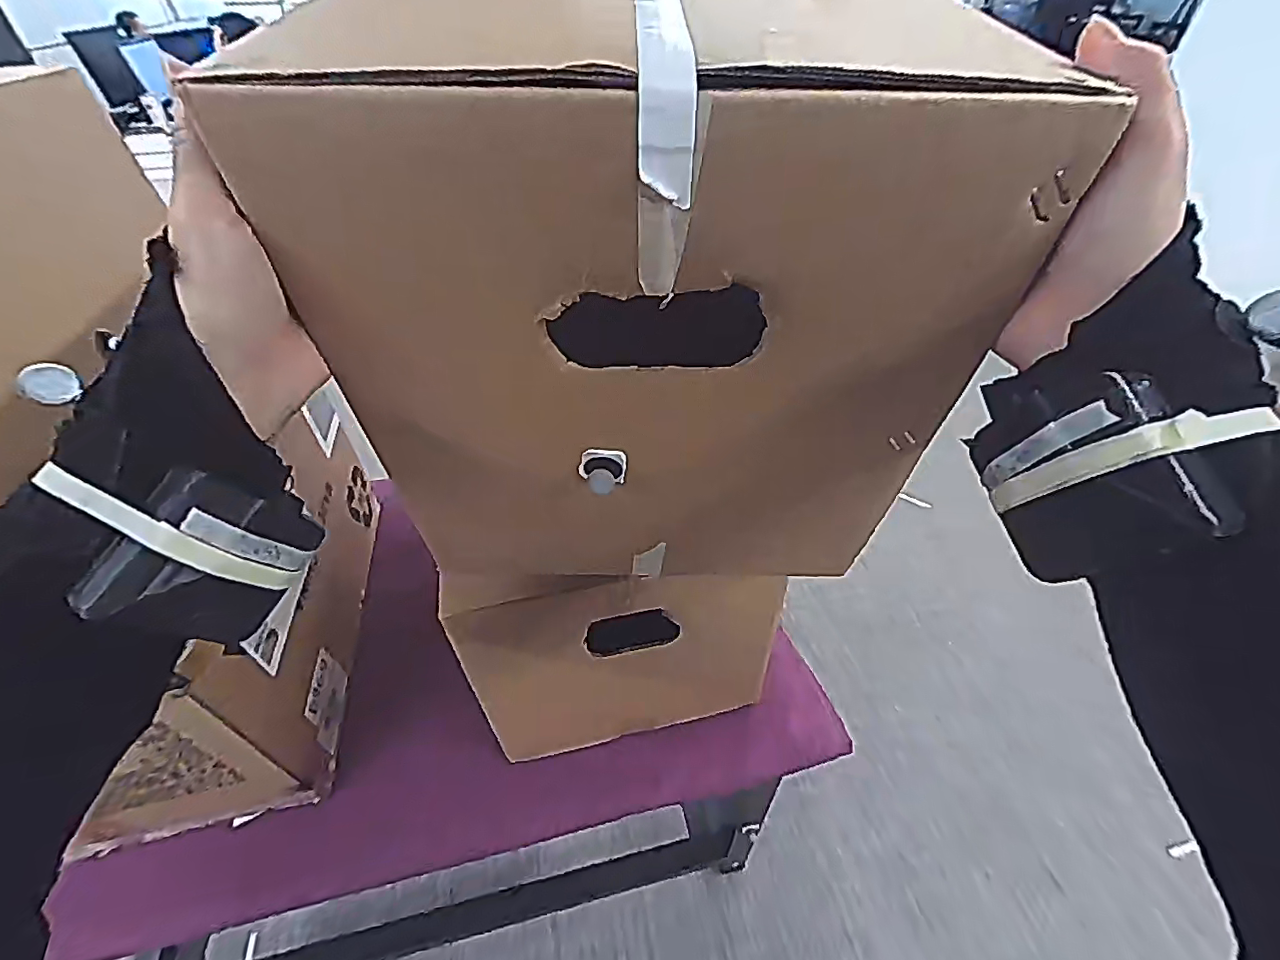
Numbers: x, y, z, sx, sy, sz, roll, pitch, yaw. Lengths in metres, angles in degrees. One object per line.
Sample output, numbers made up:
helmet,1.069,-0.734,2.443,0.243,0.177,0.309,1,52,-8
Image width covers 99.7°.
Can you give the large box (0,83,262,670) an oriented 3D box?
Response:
large box,-0.588,-0.086,0.431,0.320,0.320,0.408,-12,44,-5
